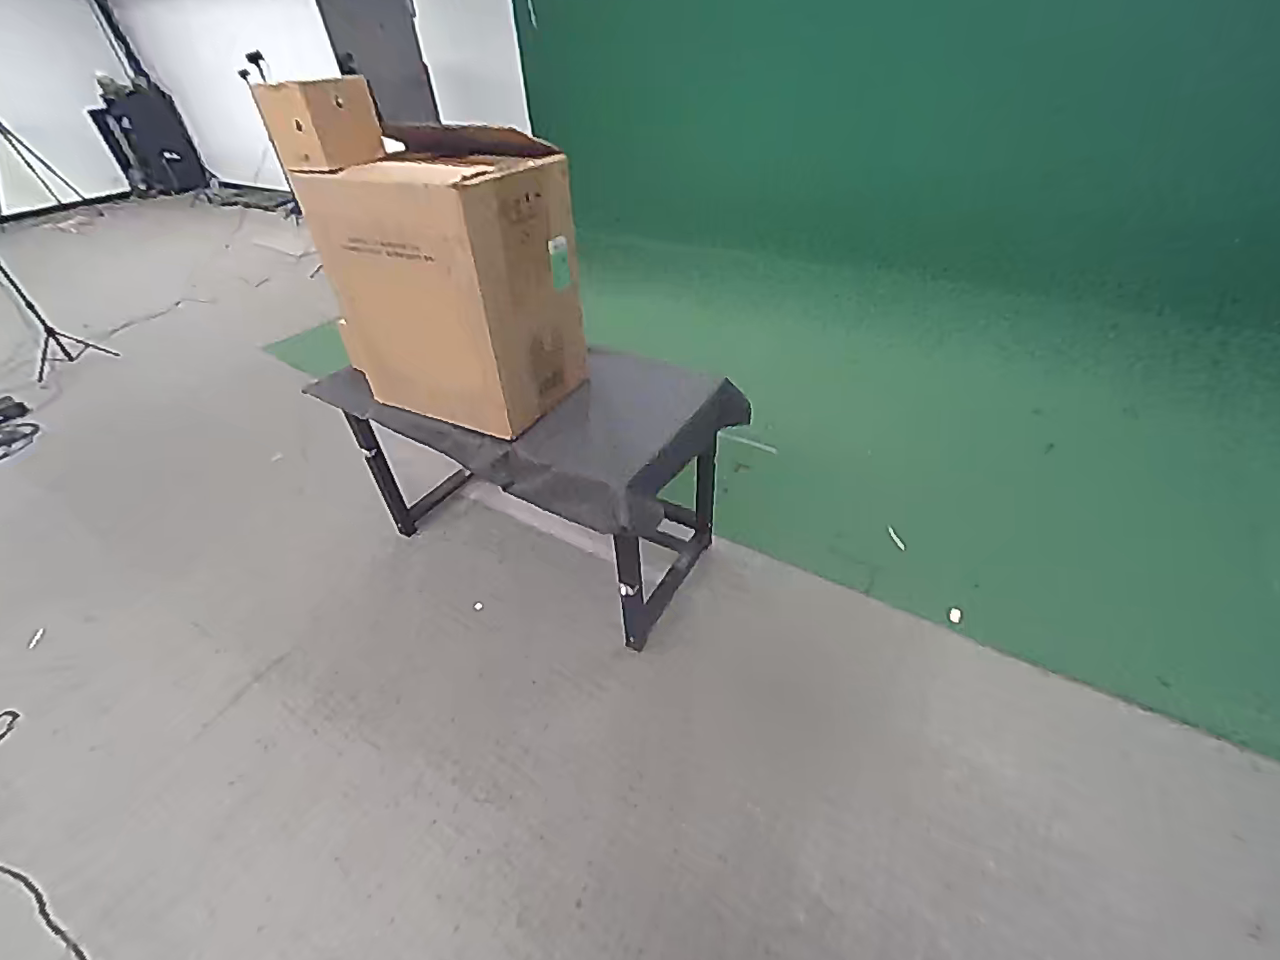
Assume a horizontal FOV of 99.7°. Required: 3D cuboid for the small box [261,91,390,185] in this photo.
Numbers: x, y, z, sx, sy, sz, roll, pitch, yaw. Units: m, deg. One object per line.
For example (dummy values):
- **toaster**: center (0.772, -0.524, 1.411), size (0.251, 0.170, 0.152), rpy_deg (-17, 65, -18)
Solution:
- **small box**: center (-0.731, -0.806, 1.277), size (0.168, 0.176, 0.179), rpy_deg (17, 42, 24)
